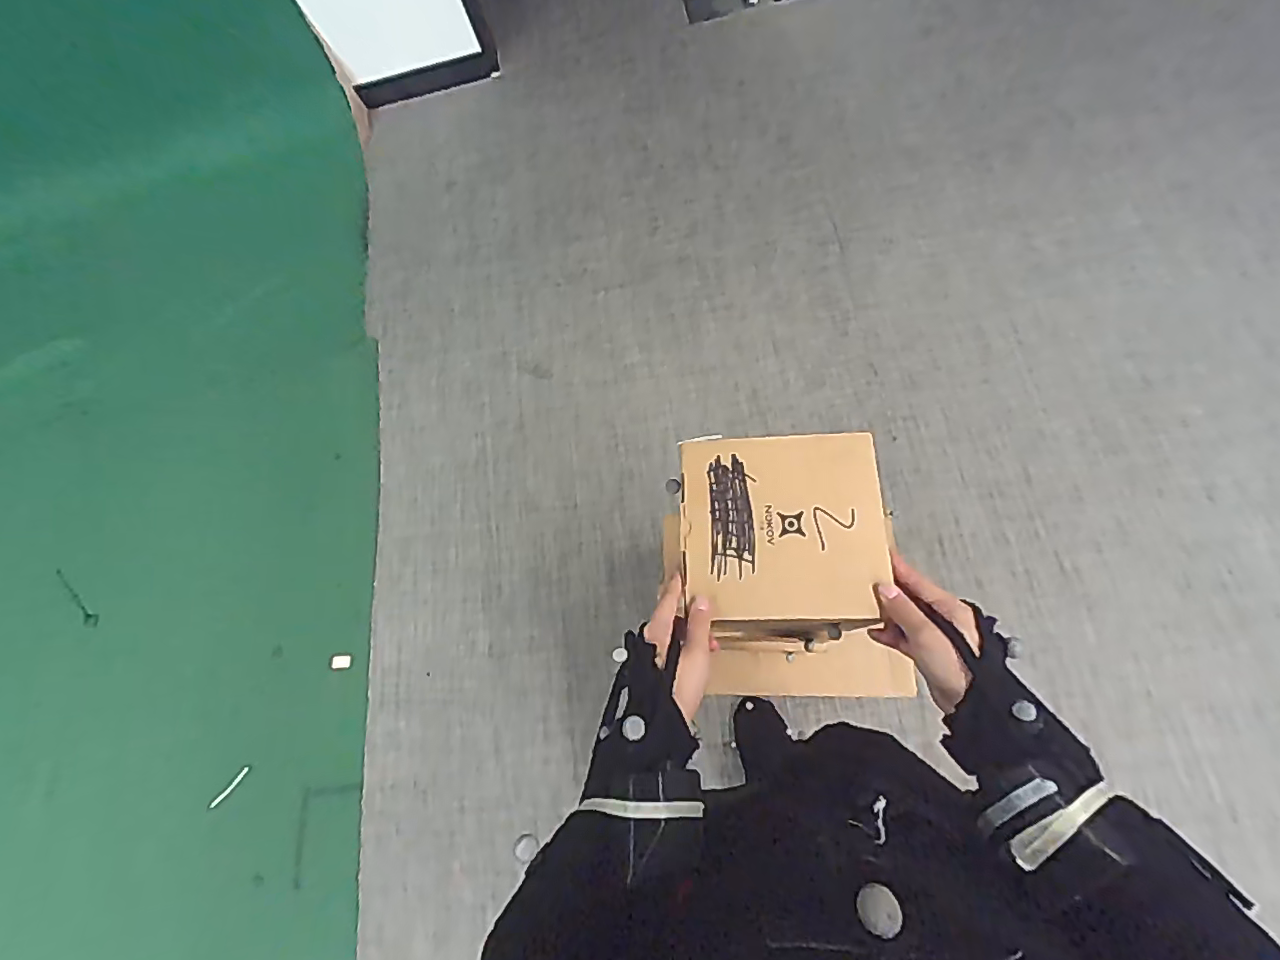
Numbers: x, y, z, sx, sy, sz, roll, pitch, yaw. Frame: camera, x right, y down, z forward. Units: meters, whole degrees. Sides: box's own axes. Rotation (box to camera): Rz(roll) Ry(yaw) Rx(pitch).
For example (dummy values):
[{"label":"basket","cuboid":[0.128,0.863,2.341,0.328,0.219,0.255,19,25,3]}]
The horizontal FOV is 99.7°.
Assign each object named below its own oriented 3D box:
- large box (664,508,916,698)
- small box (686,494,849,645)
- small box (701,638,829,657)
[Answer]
[{"label":"large box","cuboid":[0.262,0.251,1.070,0.408,0.320,0.320,-3,73,7]},{"label":"small box","cuboid":[0.155,0.123,0.698,0.179,0.176,0.168,-3,71,8]},{"label":"small box","cuboid":[0.185,0.187,0.845,0.179,0.176,0.168,-2,71,9]}]
